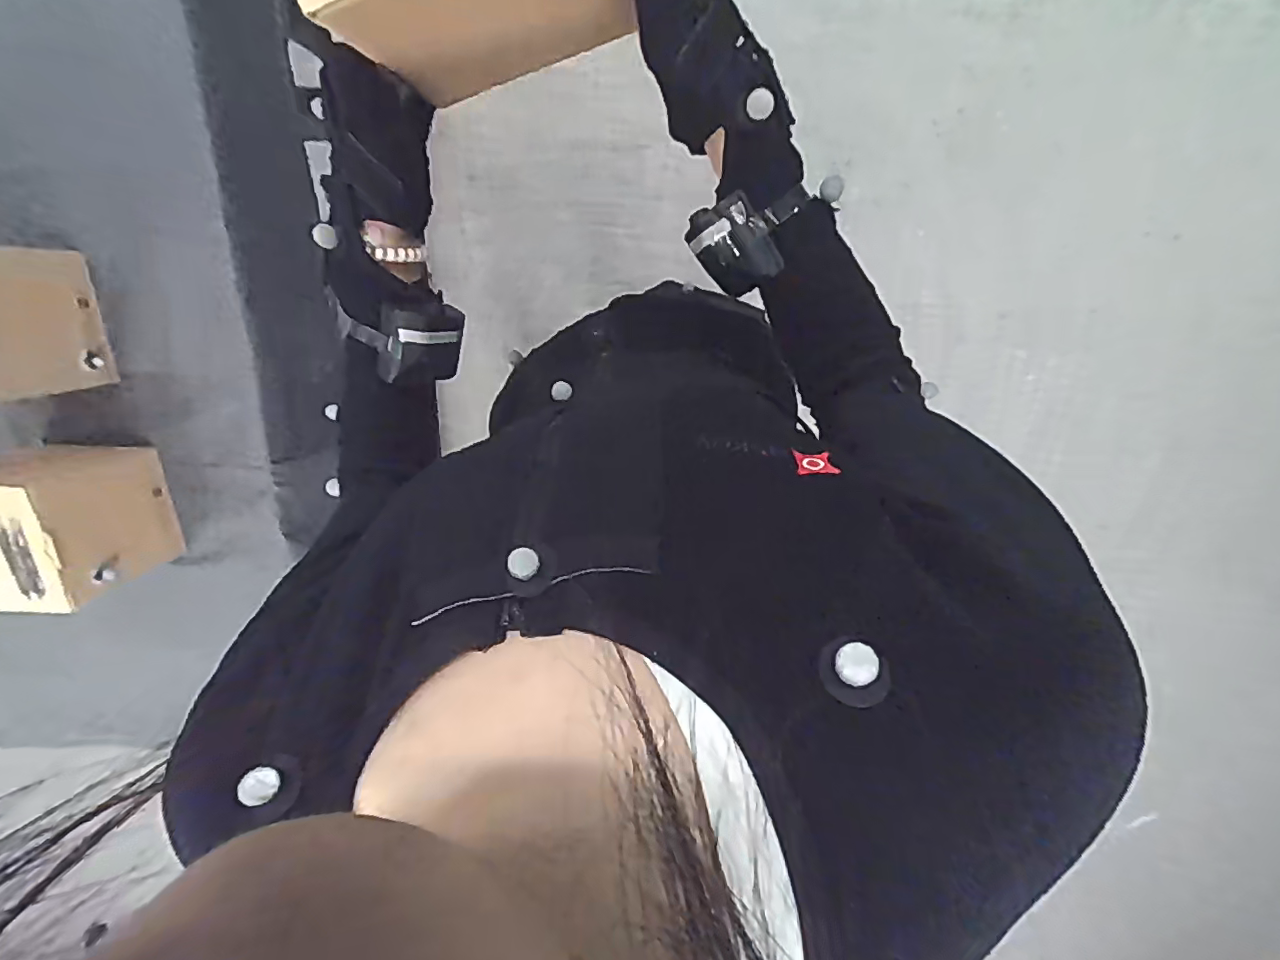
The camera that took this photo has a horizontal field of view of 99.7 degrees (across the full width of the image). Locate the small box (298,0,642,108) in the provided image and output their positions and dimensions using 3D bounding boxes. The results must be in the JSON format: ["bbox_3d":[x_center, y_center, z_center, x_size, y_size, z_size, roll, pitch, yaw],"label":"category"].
[{"bbox_3d":[-0.105,-0.353,0.313,0.179,0.176,0.168,-16,108,8],"label":"small box"}]
